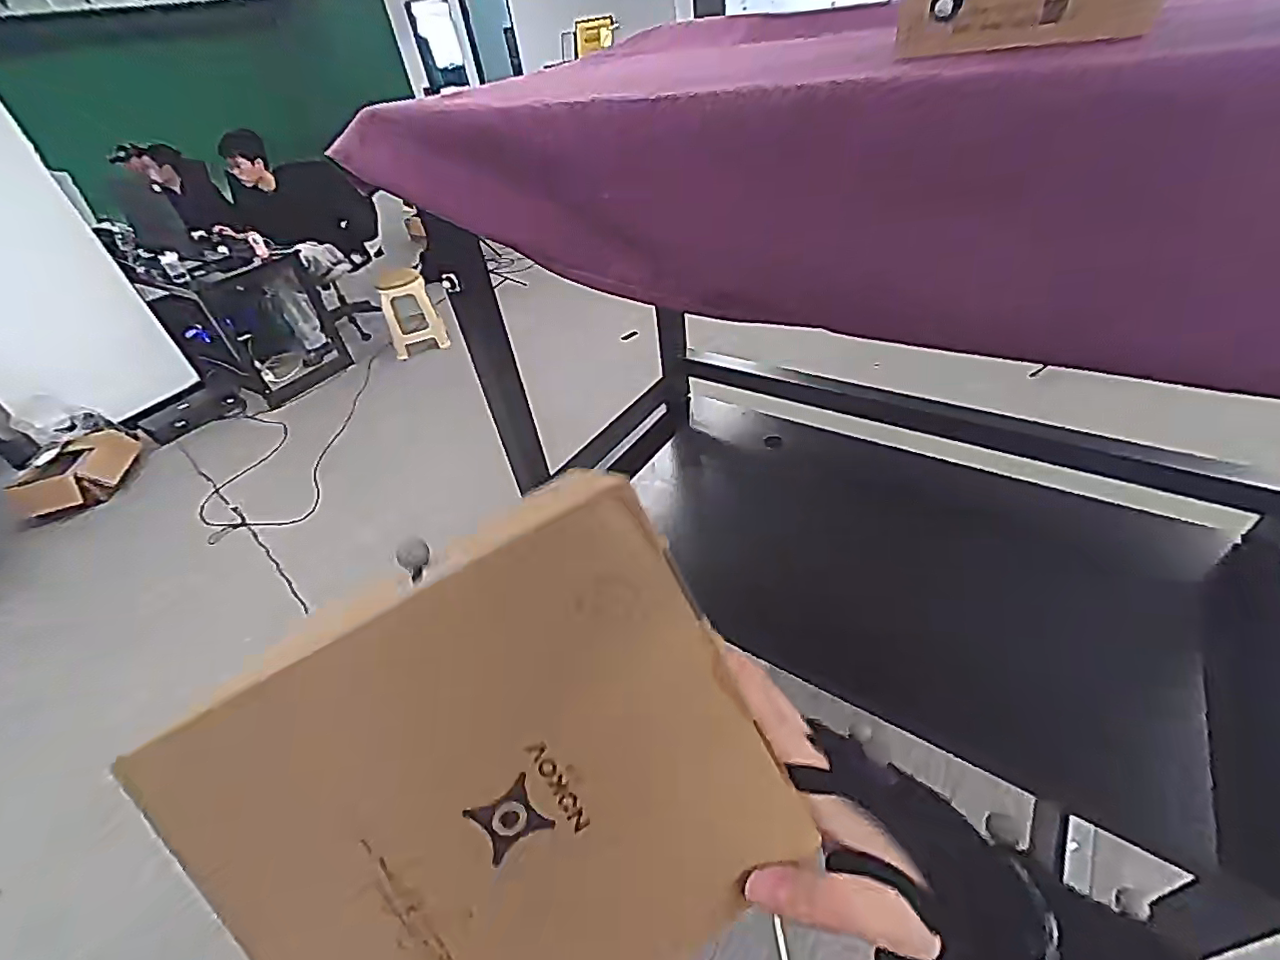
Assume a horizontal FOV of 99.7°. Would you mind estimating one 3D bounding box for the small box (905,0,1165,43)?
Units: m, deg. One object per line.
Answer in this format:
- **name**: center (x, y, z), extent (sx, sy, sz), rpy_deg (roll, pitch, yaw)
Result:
- **small box**: center (0.303, -0.432, 0.388), extent (0.168, 0.176, 0.179), rpy_deg (16, 46, 26)
